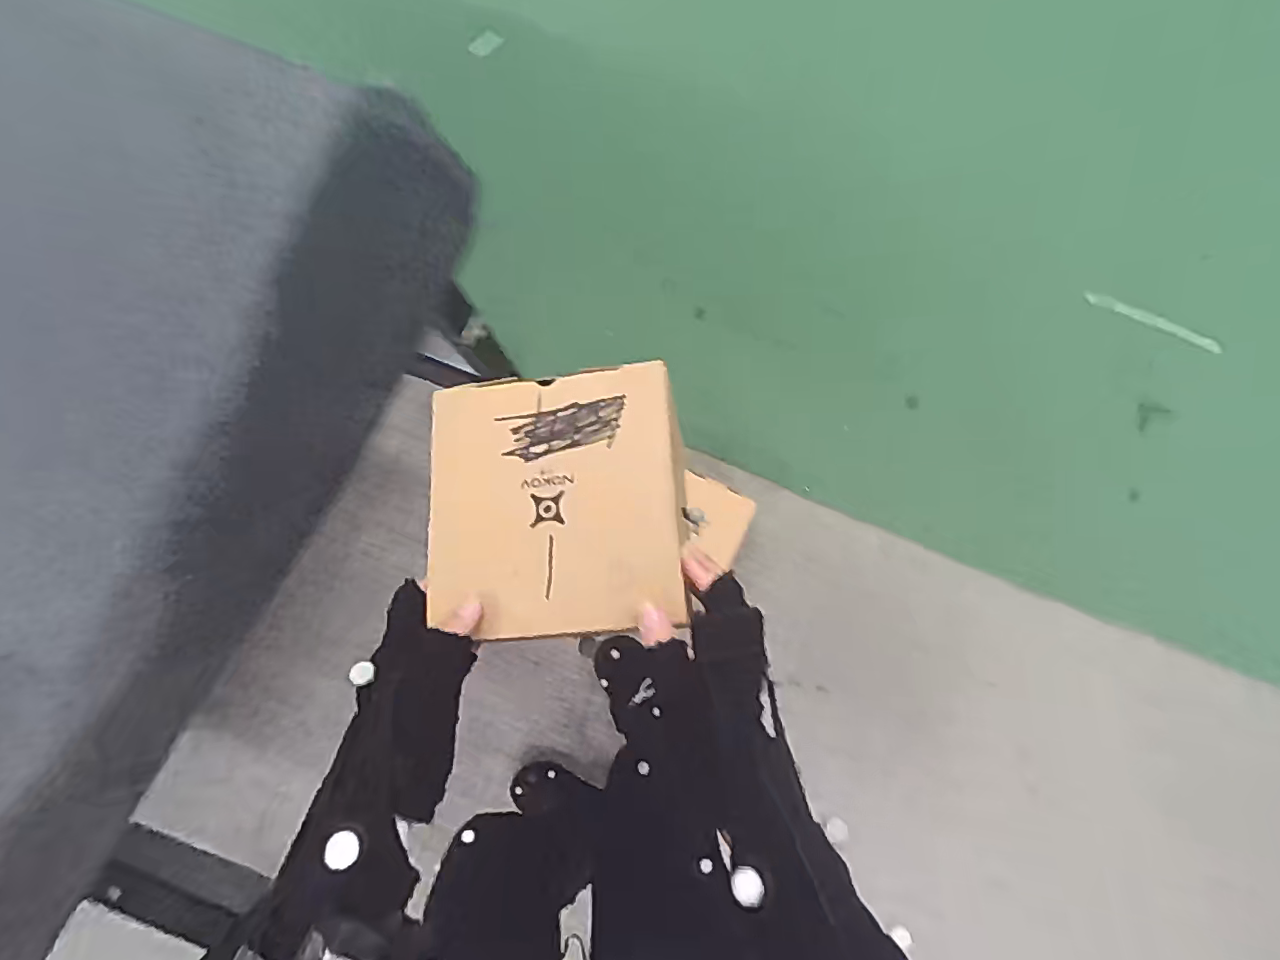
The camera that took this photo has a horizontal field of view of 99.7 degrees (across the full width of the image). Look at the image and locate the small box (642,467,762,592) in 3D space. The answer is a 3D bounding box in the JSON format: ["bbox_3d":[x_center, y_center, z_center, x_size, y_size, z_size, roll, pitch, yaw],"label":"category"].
[{"bbox_3d":[0.111,0.096,1.047,0.168,0.176,0.179,26,85,4],"label":"small box"}]
